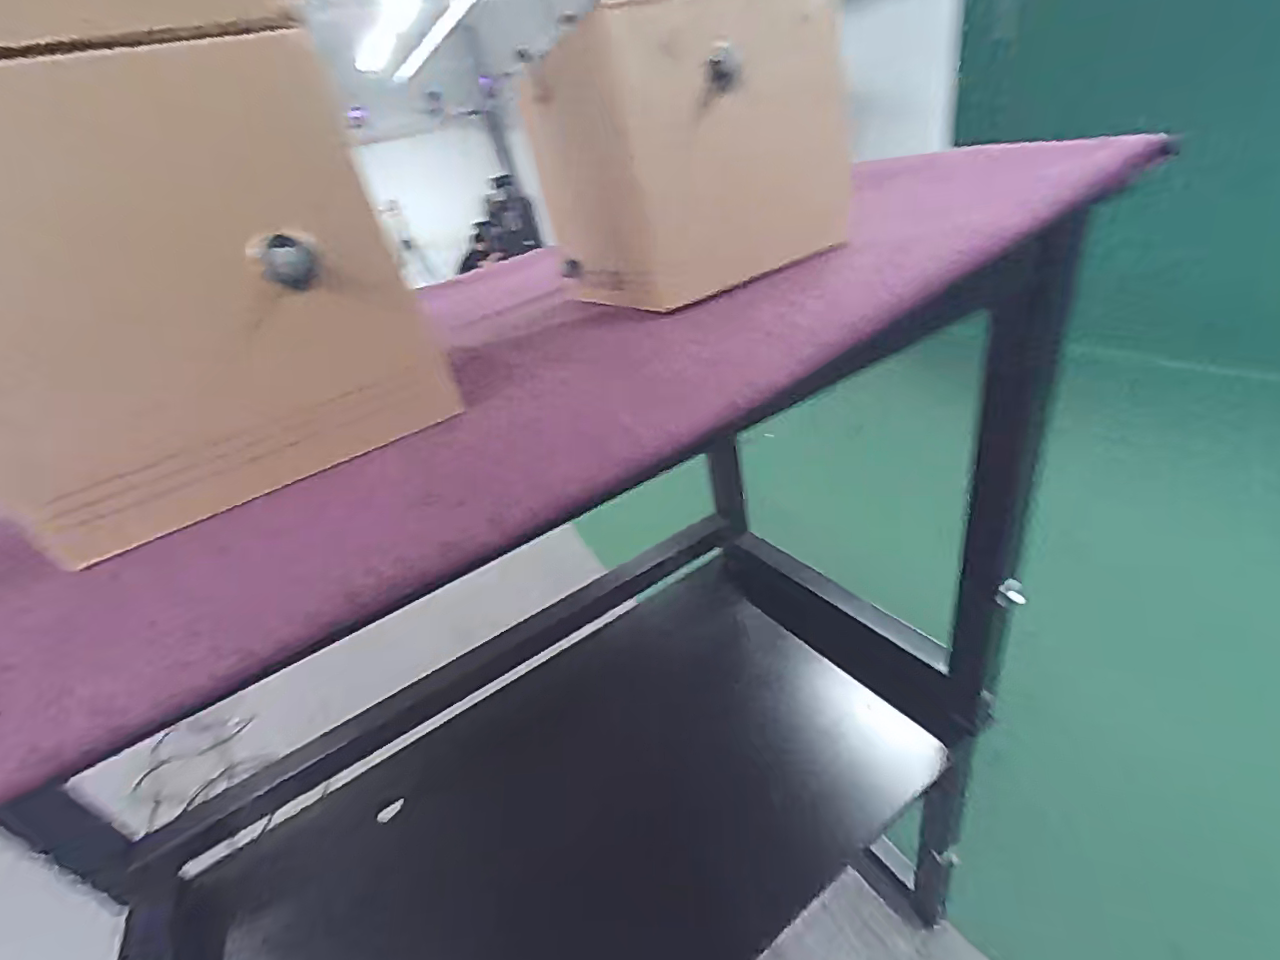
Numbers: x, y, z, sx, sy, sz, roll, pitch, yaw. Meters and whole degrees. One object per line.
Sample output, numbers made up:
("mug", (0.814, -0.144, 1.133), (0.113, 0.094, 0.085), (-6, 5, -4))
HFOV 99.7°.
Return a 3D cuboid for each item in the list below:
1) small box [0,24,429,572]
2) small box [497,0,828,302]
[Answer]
("small box", (-0.227, -0.089, 0.270), (0.179, 0.176, 0.168), (-30, 34, -22))
("small box", (0.022, -0.244, 0.406), (0.179, 0.176, 0.168), (-27, 32, -20))
